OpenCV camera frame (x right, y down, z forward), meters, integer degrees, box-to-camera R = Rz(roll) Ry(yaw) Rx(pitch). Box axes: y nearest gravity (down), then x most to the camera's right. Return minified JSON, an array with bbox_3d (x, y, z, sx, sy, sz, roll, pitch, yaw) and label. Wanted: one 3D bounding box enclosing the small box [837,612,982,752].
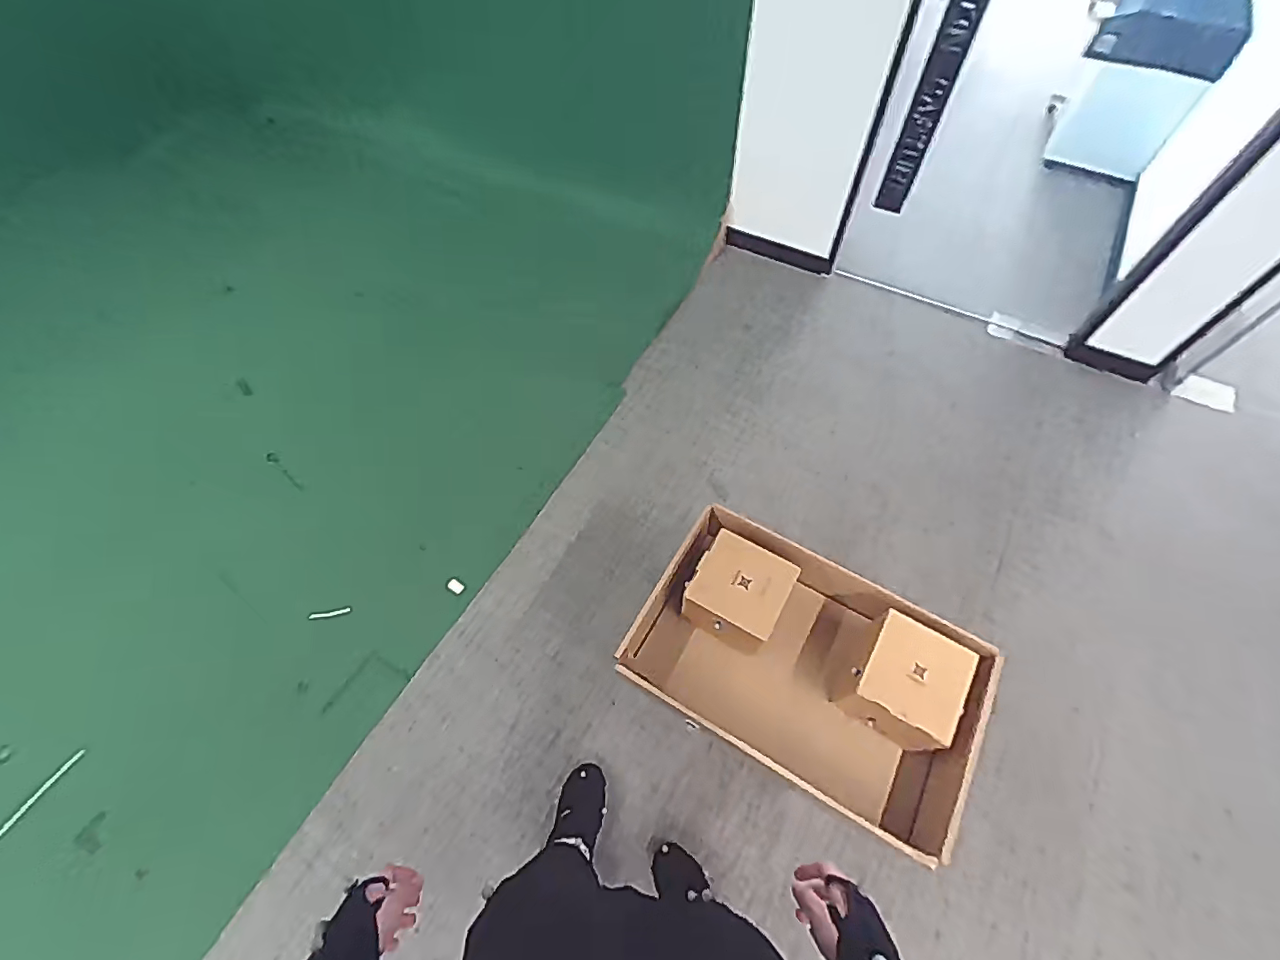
[{"bbox_3d":[0.495,0.382,1.014,0.168,0.176,0.179,29,67,16],"label":"small box"}]
